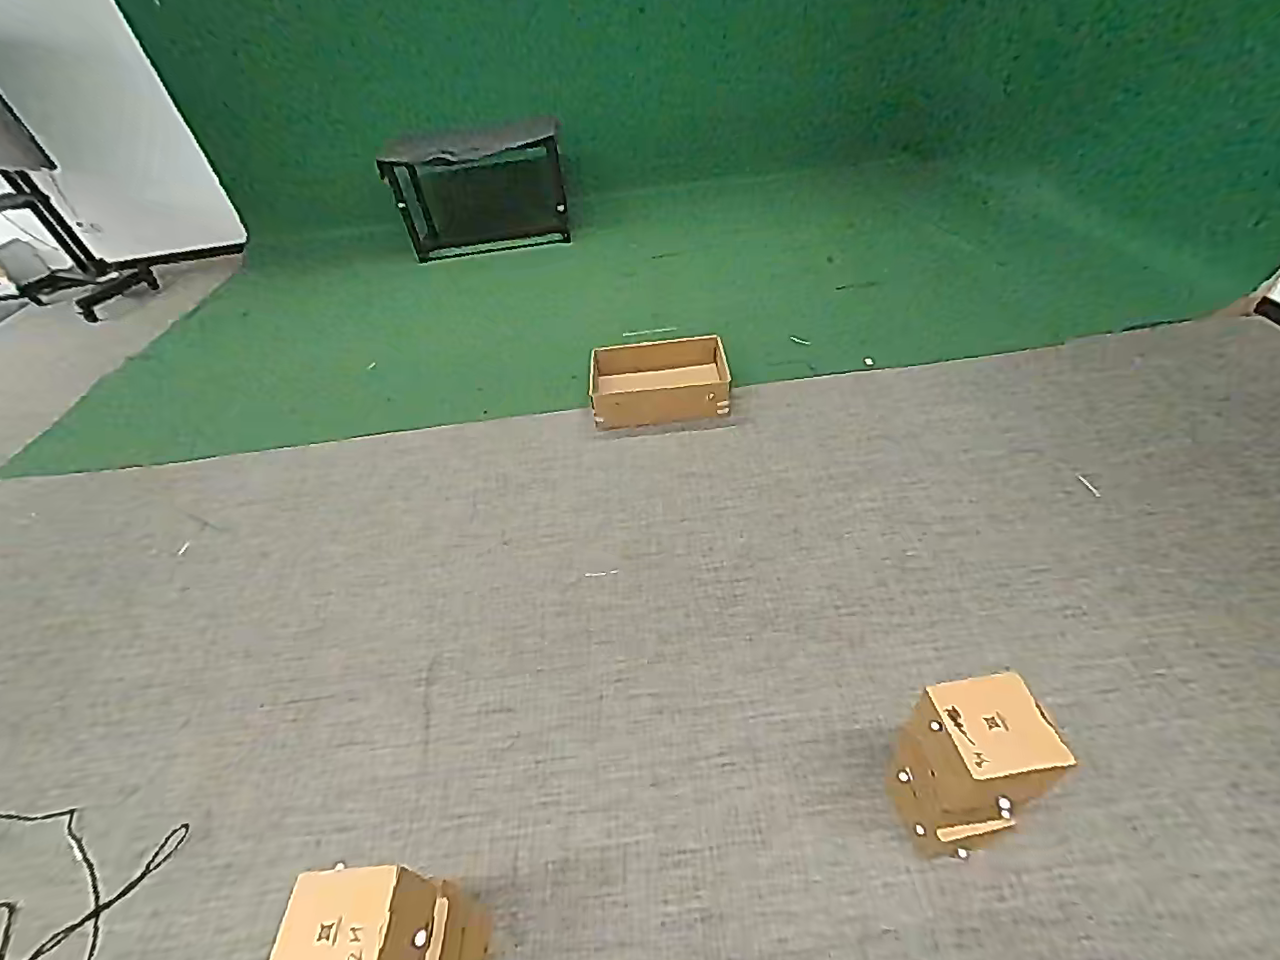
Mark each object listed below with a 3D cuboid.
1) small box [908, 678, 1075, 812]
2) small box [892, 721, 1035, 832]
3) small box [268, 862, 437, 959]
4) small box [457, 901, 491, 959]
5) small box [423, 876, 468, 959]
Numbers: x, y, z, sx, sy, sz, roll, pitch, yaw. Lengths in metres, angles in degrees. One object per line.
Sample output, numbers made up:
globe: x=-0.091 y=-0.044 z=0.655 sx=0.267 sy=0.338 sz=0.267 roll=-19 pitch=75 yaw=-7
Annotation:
small box: x=0.630 y=0.489 z=0.997 sx=0.179 sy=0.176 sz=0.168 roll=-8 pitch=42 yaw=-1
small box: x=0.651 y=0.602 z=1.115 sx=0.179 sy=0.176 sz=0.168 roll=-9 pitch=42 yaw=0
small box: x=-0.461 y=0.742 z=0.878 sx=0.179 sy=0.176 sz=0.168 roll=-6 pitch=44 yaw=3
small box: x=-0.419 y=0.978 z=1.104 sx=0.179 sy=0.176 sz=0.168 roll=-6 pitch=43 yaw=3
small box: x=-0.438 y=0.851 z=1.000 sx=0.179 sy=0.176 sz=0.168 roll=-7 pitch=43 yaw=4
